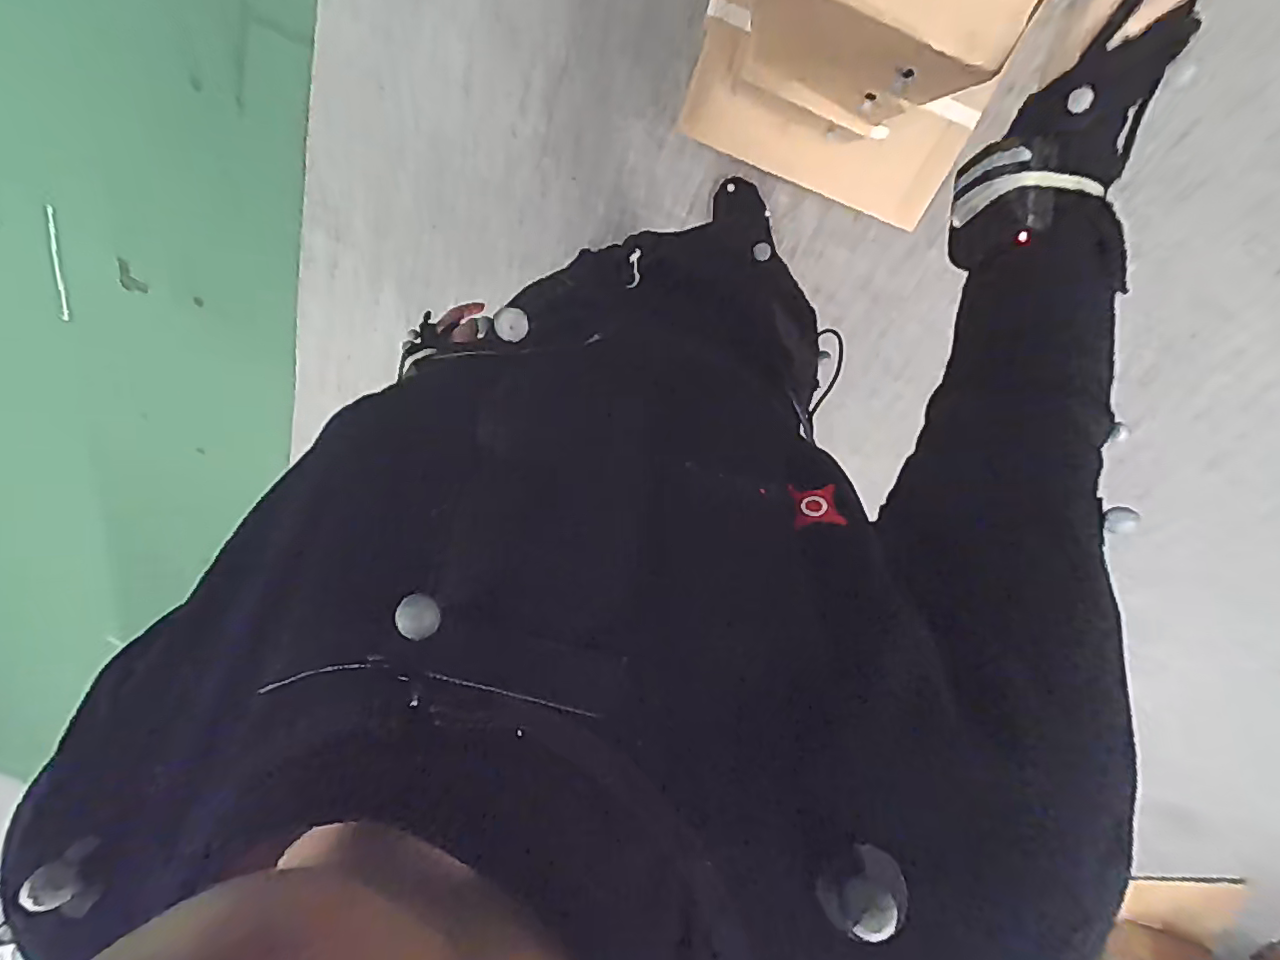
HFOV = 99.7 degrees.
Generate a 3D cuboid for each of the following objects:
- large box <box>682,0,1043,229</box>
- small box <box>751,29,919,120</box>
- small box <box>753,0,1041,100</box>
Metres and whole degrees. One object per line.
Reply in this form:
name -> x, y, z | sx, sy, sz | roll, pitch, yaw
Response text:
large box -> 0.312, -0.653, 0.892 | 0.408, 0.320, 0.320 | 21, 121, -4
small box -> 0.222, -0.482, 0.532 | 0.179, 0.176, 0.168 | 24, 119, -6
small box -> 0.197, -0.404, 0.392 | 0.179, 0.176, 0.168 | 21, 119, -3
